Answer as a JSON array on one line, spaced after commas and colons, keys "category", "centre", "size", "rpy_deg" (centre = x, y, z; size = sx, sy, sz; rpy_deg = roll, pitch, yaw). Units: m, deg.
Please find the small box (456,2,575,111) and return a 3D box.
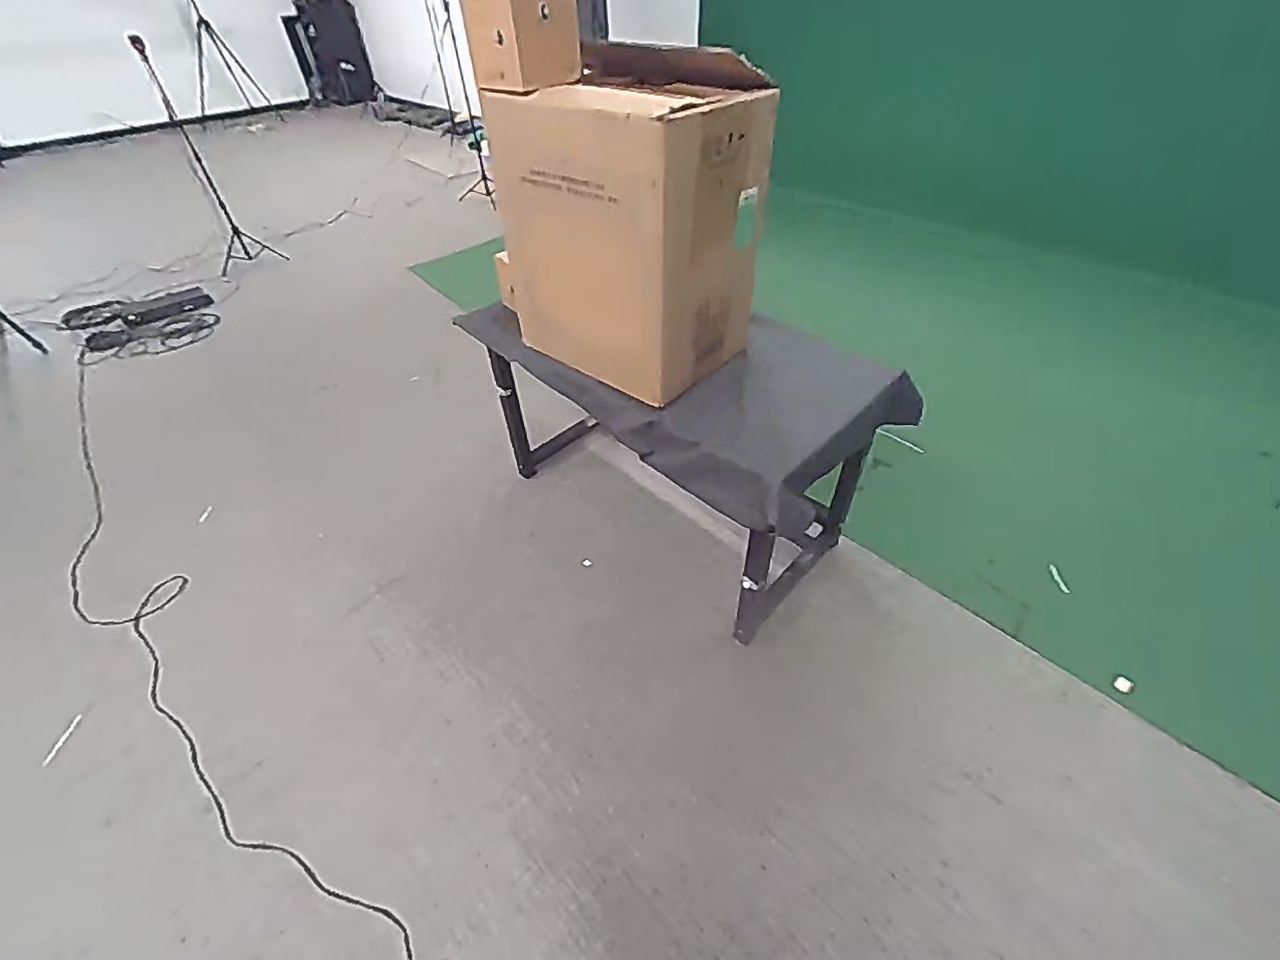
[{"category": "small box", "centre": [-0.259, -0.913, 1.169], "size": [0.168, 0.176, 0.179], "rpy_deg": [30, 51, 31]}]
